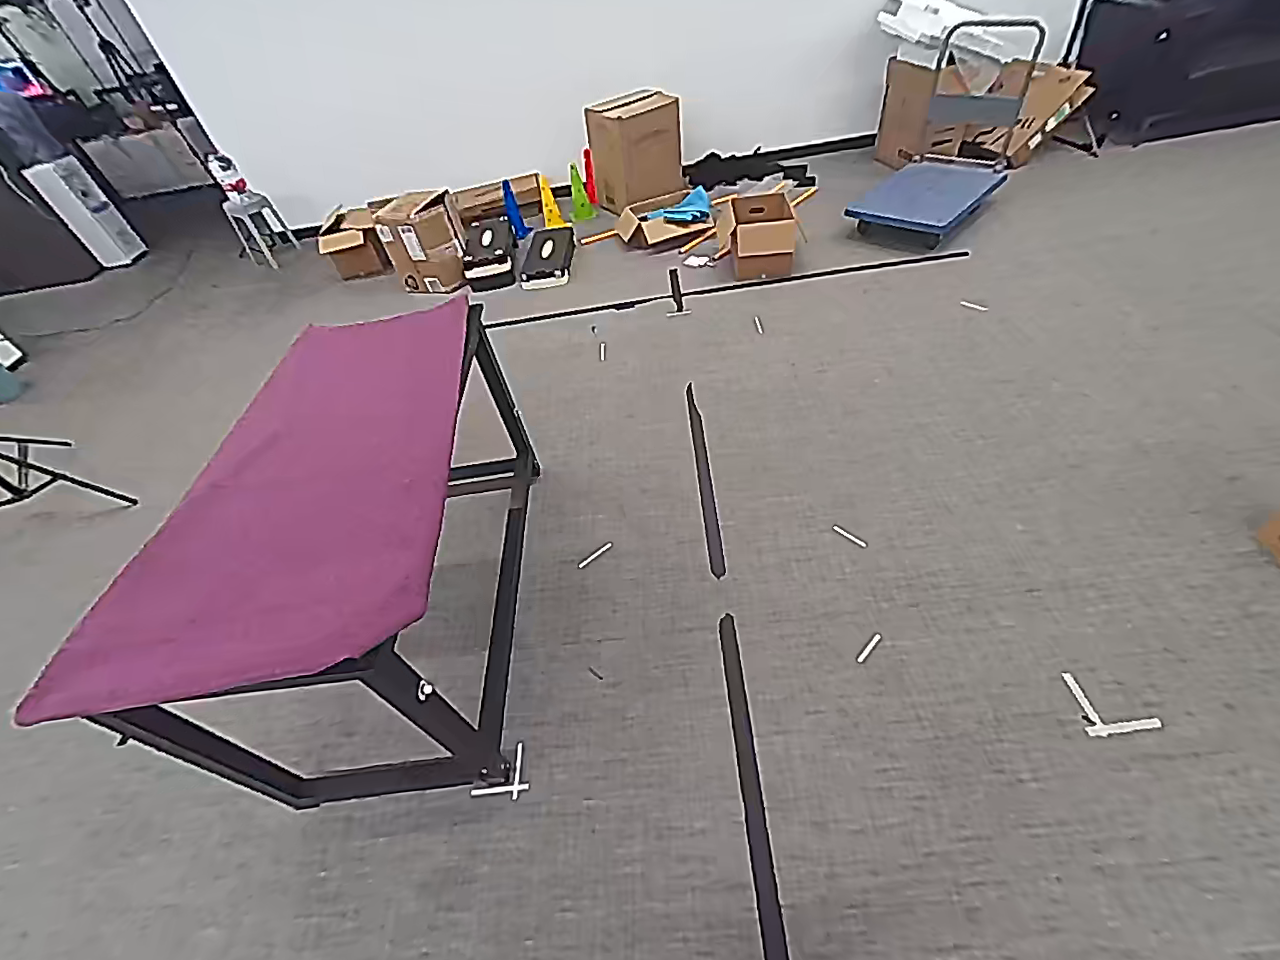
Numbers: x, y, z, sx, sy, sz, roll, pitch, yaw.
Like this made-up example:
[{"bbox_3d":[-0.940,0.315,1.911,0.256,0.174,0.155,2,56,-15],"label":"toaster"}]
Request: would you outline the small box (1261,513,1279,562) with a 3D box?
[{"bbox_3d":[1.890,0.164,1.482,0.179,0.176,0.168,-5,46,6],"label":"small box"}]
